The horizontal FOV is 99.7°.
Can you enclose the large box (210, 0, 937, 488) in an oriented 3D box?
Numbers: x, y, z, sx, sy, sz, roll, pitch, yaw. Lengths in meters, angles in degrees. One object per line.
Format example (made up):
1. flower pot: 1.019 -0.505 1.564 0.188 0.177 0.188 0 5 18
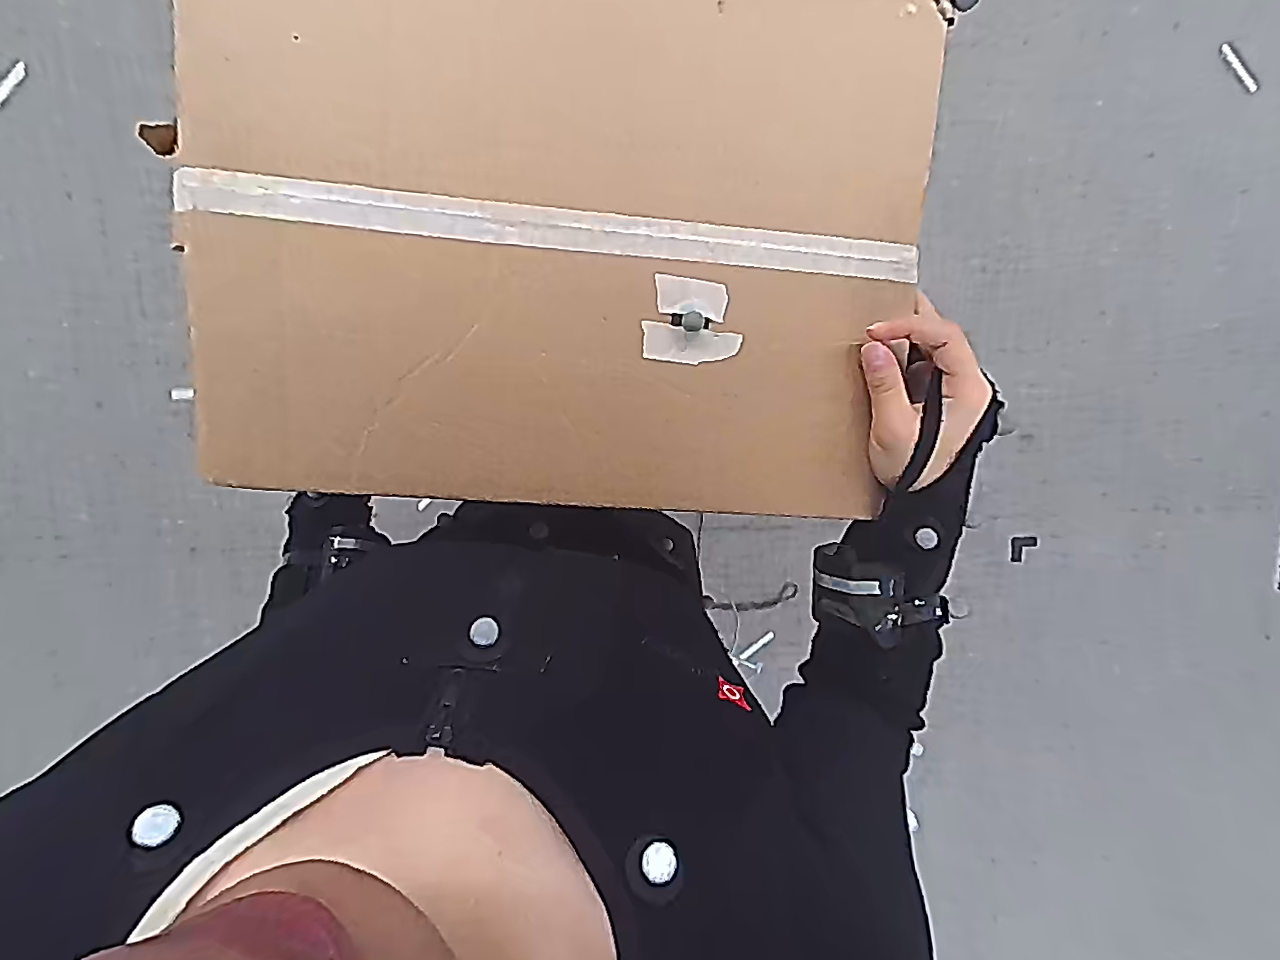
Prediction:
1. large box: -0.049 -0.174 0.458 0.408 0.320 0.320 3 99 -8
